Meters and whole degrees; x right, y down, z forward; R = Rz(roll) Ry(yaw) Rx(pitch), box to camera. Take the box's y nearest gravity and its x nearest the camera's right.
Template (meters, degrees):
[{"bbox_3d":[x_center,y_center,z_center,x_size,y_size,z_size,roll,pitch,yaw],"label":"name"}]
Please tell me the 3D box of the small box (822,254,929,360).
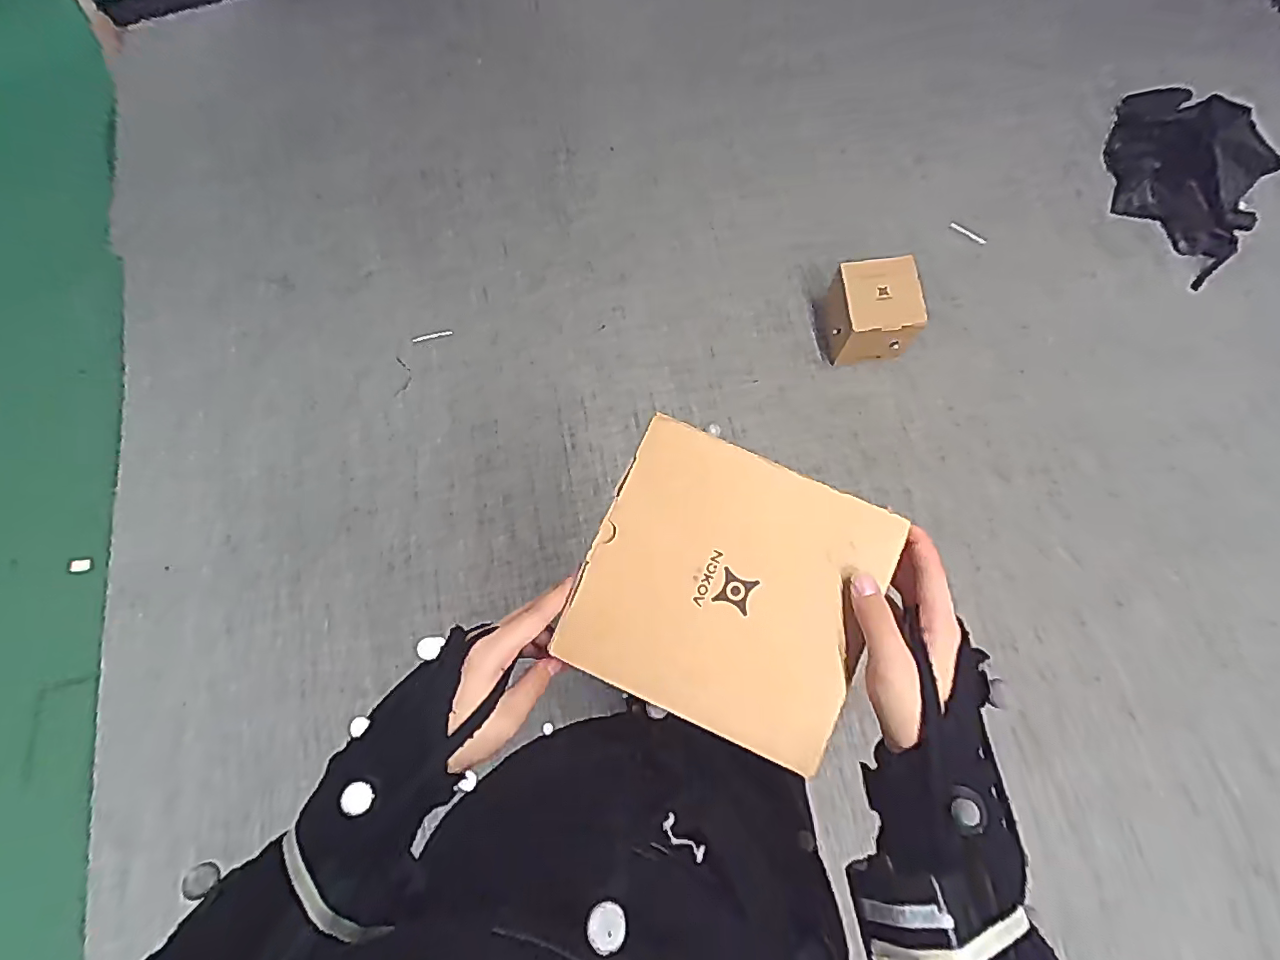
[{"bbox_3d":[0.540,-0.394,1.262,0.168,0.176,0.179,-6,75,2],"label":"small box"}]
